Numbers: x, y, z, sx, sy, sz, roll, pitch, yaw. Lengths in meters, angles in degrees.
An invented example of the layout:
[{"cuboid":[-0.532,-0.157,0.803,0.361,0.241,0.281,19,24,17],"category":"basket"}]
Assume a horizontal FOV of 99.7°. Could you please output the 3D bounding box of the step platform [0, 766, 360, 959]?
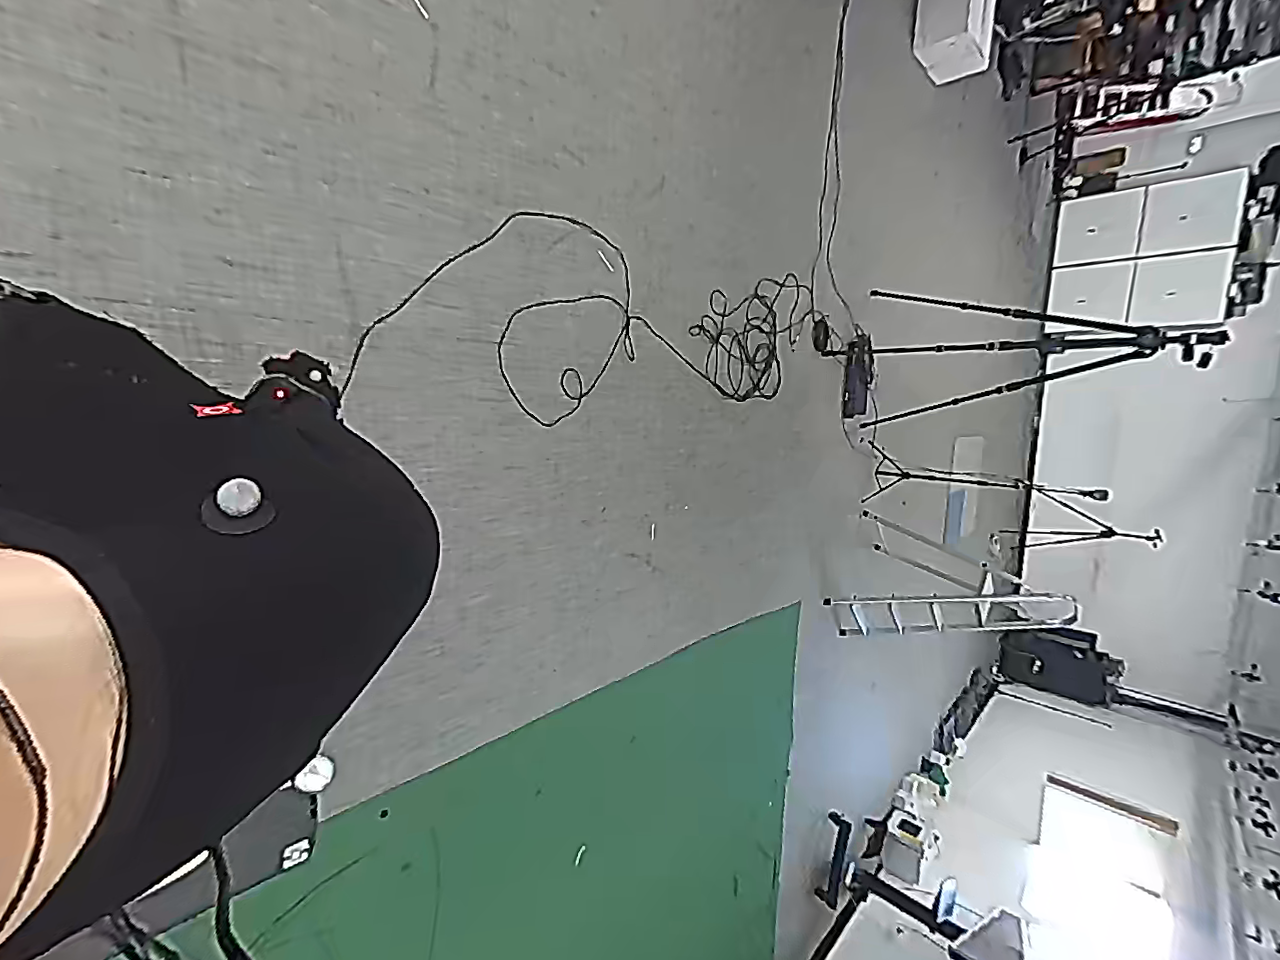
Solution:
[{"cuboid":[-0.905,0.820,0.980,0.684,0.204,0.286,-7,101,-47],"category":"step platform"}]
